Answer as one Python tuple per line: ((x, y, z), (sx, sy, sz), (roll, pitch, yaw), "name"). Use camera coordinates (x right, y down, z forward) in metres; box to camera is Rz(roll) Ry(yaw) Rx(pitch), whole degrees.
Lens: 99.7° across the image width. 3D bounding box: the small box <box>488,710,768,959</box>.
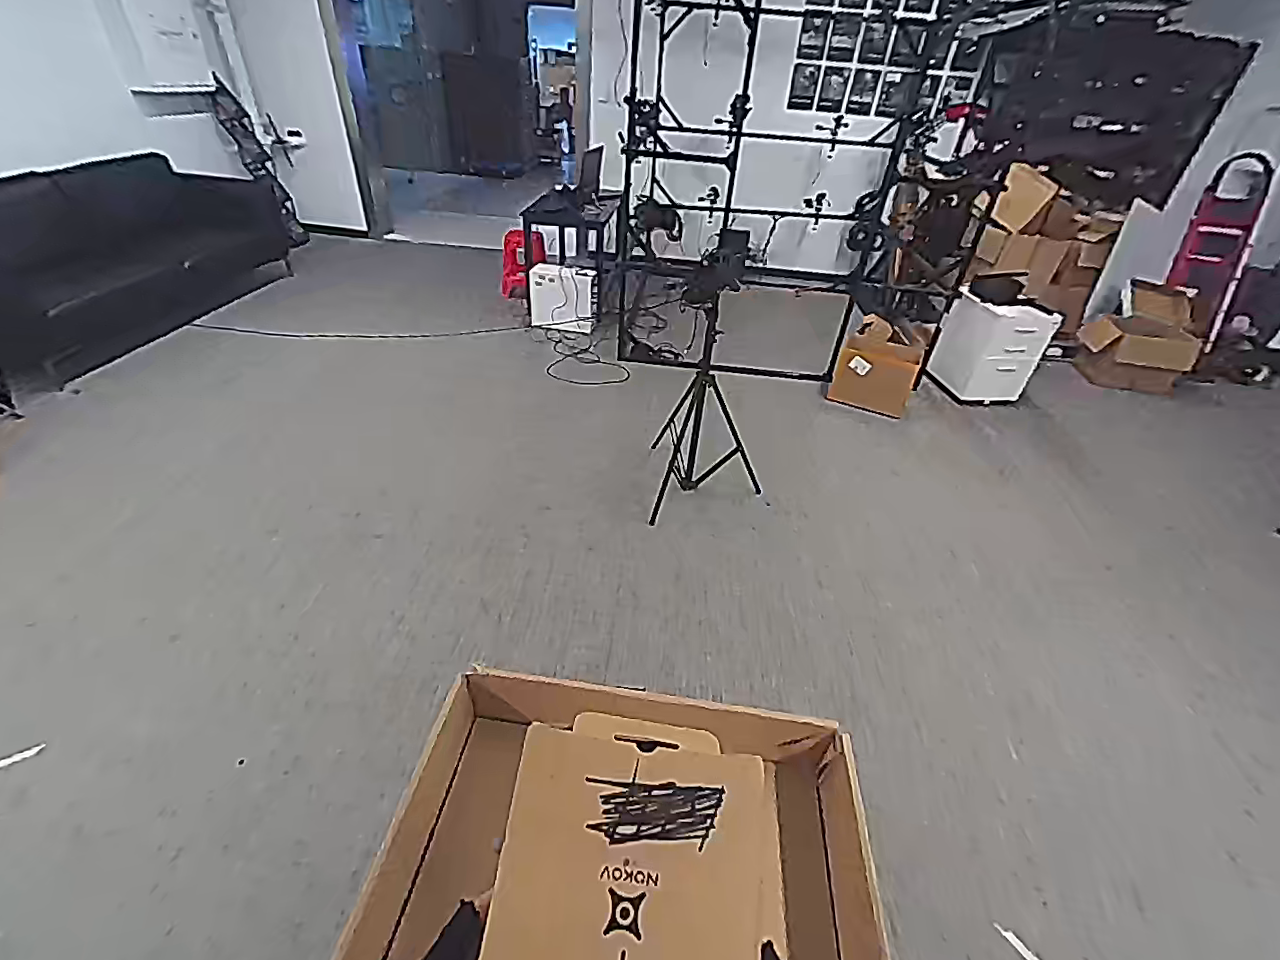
((-0.008, 0.288, 0.406), (0.168, 0.176, 0.179), (8, 59, 0), "small box")
